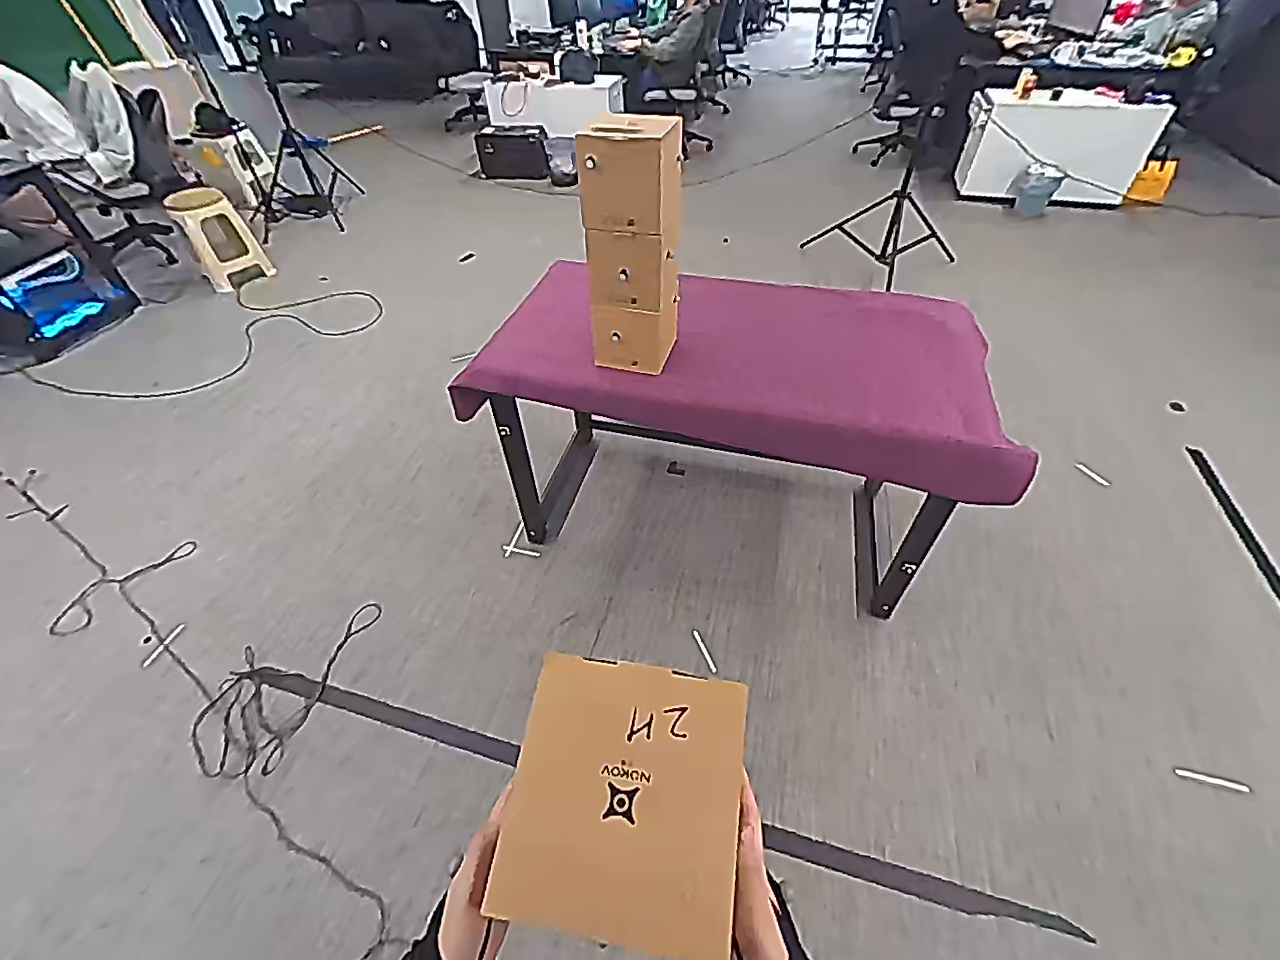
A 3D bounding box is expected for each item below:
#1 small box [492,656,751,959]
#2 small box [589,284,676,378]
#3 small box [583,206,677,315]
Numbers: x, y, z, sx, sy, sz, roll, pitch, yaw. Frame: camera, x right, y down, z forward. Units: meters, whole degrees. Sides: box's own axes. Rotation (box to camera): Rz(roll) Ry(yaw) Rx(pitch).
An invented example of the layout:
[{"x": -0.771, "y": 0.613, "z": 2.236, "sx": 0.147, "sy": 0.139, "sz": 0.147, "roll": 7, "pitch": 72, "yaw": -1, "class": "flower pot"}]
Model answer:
[{"x": -0.002, "y": 0.270, "z": 0.462, "sx": 0.168, "sy": 0.176, "sz": 0.179, "roll": 7, "pitch": 58, "yaw": 7, "class": "small box"}, {"x": -0.012, "y": -0.370, "z": 1.320, "sx": 0.168, "sy": 0.176, "sz": 0.179, "roll": 11, "pitch": 47, "yaw": 12, "class": "small box"}, {"x": -0.015, "y": -0.488, "z": 1.206, "sx": 0.168, "sy": 0.176, "sz": 0.179, "roll": 10, "pitch": 47, "yaw": 10, "class": "small box"}]
